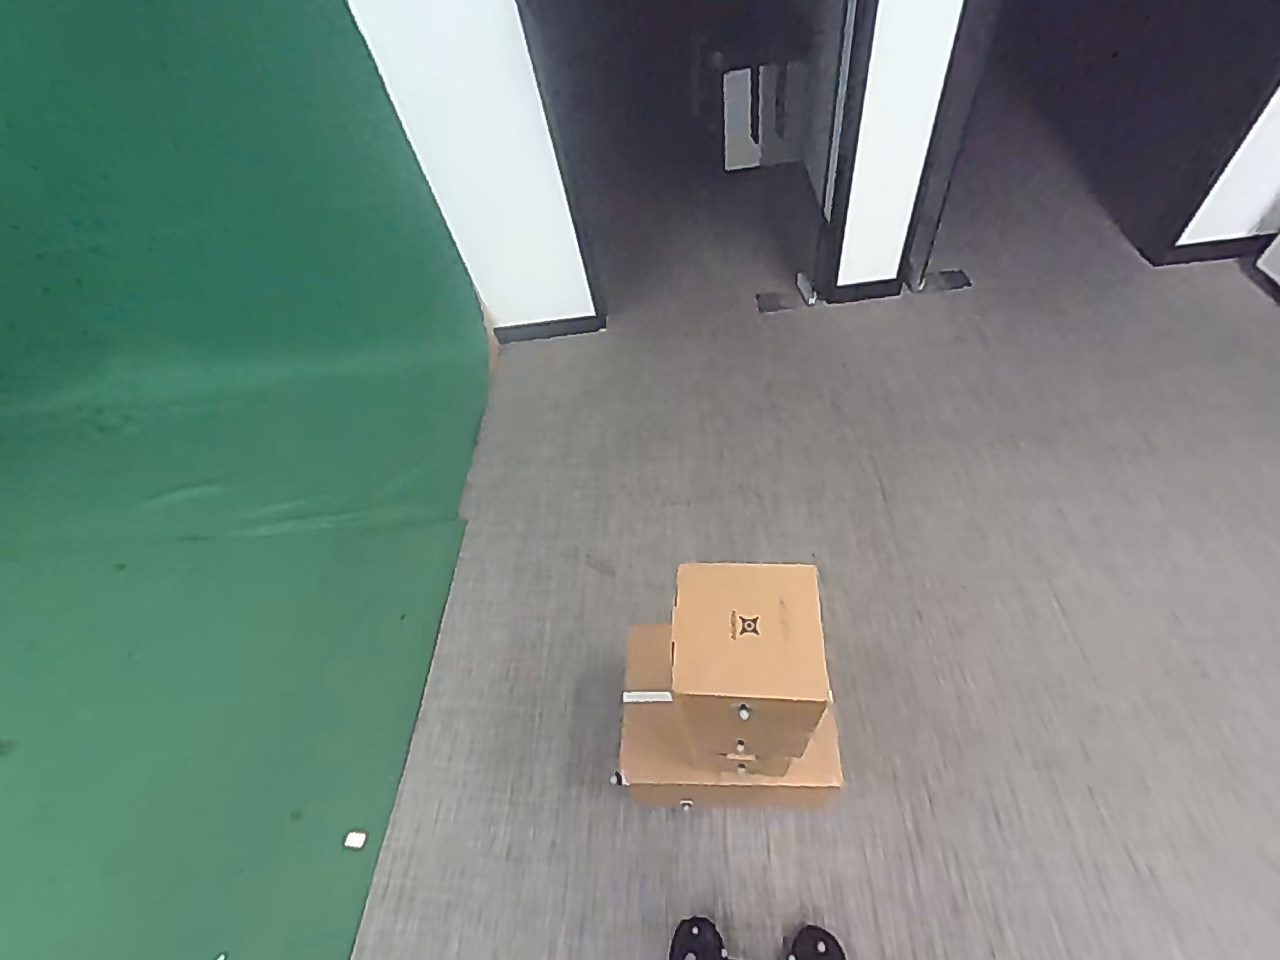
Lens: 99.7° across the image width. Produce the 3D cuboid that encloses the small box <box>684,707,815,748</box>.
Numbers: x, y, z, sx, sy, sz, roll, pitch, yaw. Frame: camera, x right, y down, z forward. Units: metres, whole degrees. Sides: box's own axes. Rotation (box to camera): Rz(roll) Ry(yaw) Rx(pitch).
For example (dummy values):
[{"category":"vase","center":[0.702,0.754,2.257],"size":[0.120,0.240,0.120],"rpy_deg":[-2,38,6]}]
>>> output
[{"category":"small box","center":[0.167,0.308,0.836],"size":[0.179,0.176,0.168],"rpy_deg":[-3,54,11]}]

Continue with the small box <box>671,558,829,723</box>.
[{"category":"small box","center":[0.140,0.213,0.708],"size":[0.179,0.176,0.168],"rpy_deg":[-2,55,10]}]

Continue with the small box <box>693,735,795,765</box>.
[{"category":"small box","center":[0.188,0.402,0.970],"size":[0.168,0.176,0.179],"rpy_deg":[-2,55,11]}]
